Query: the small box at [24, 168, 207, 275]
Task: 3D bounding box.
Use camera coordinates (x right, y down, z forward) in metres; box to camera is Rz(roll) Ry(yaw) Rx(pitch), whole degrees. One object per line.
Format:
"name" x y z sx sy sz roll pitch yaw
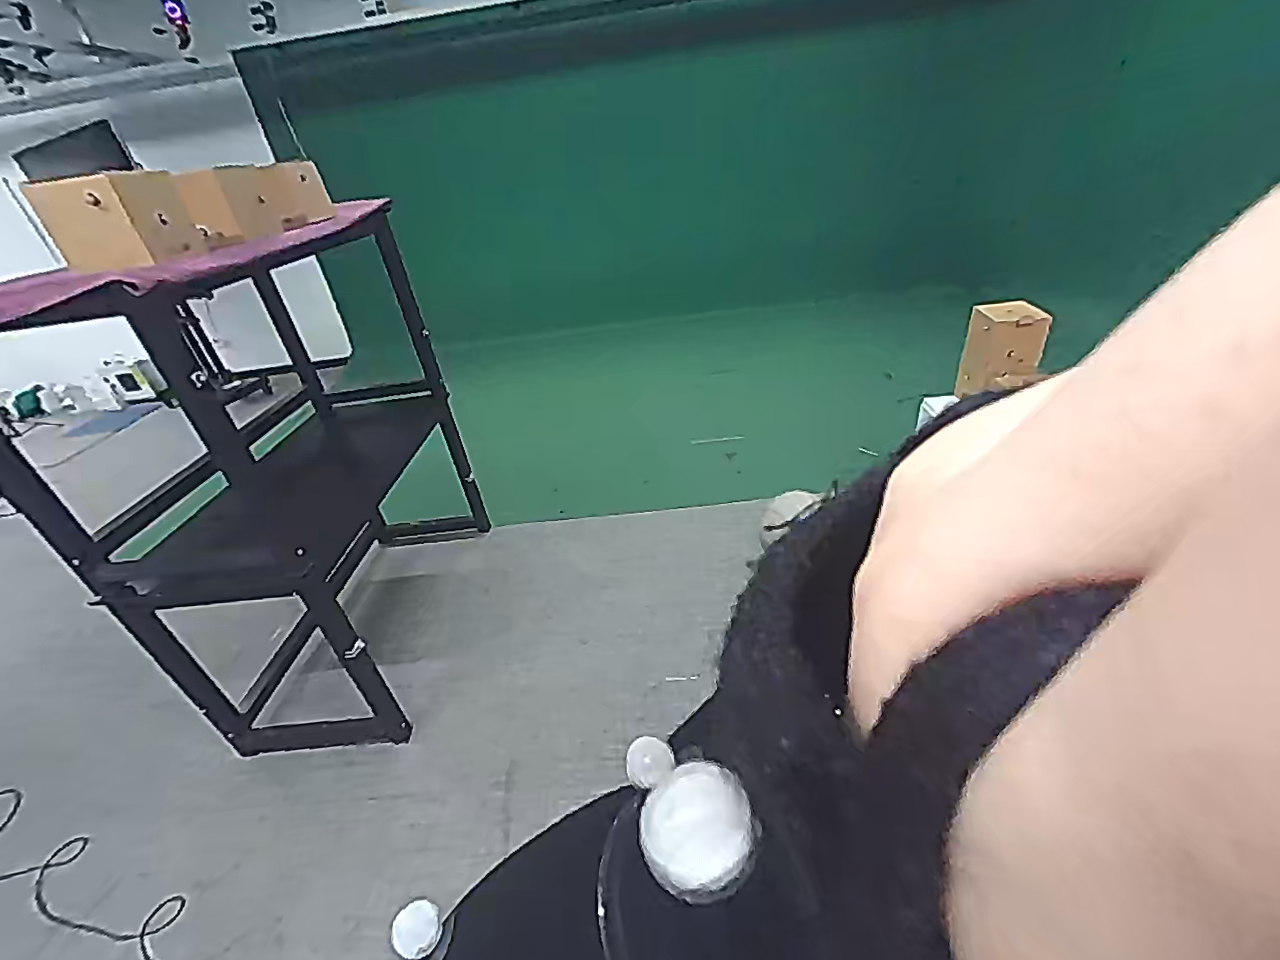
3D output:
"small box" -1.054 -0.532 1.110 0.179 0.176 0.168 -6 31 3

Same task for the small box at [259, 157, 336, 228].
"small box" -1.087 -0.887 1.678 0.168 0.176 0.179 -7 32 6

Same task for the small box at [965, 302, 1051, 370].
"small box" 1.228 -0.486 1.823 0.168 0.176 0.179 -4 35 6

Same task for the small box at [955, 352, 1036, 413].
"small box" 1.246 -0.349 1.912 0.168 0.176 0.179 -5 33 5

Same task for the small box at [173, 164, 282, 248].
"small box" -1.063 -0.700 1.384 0.168 0.176 0.179 -7 33 3
